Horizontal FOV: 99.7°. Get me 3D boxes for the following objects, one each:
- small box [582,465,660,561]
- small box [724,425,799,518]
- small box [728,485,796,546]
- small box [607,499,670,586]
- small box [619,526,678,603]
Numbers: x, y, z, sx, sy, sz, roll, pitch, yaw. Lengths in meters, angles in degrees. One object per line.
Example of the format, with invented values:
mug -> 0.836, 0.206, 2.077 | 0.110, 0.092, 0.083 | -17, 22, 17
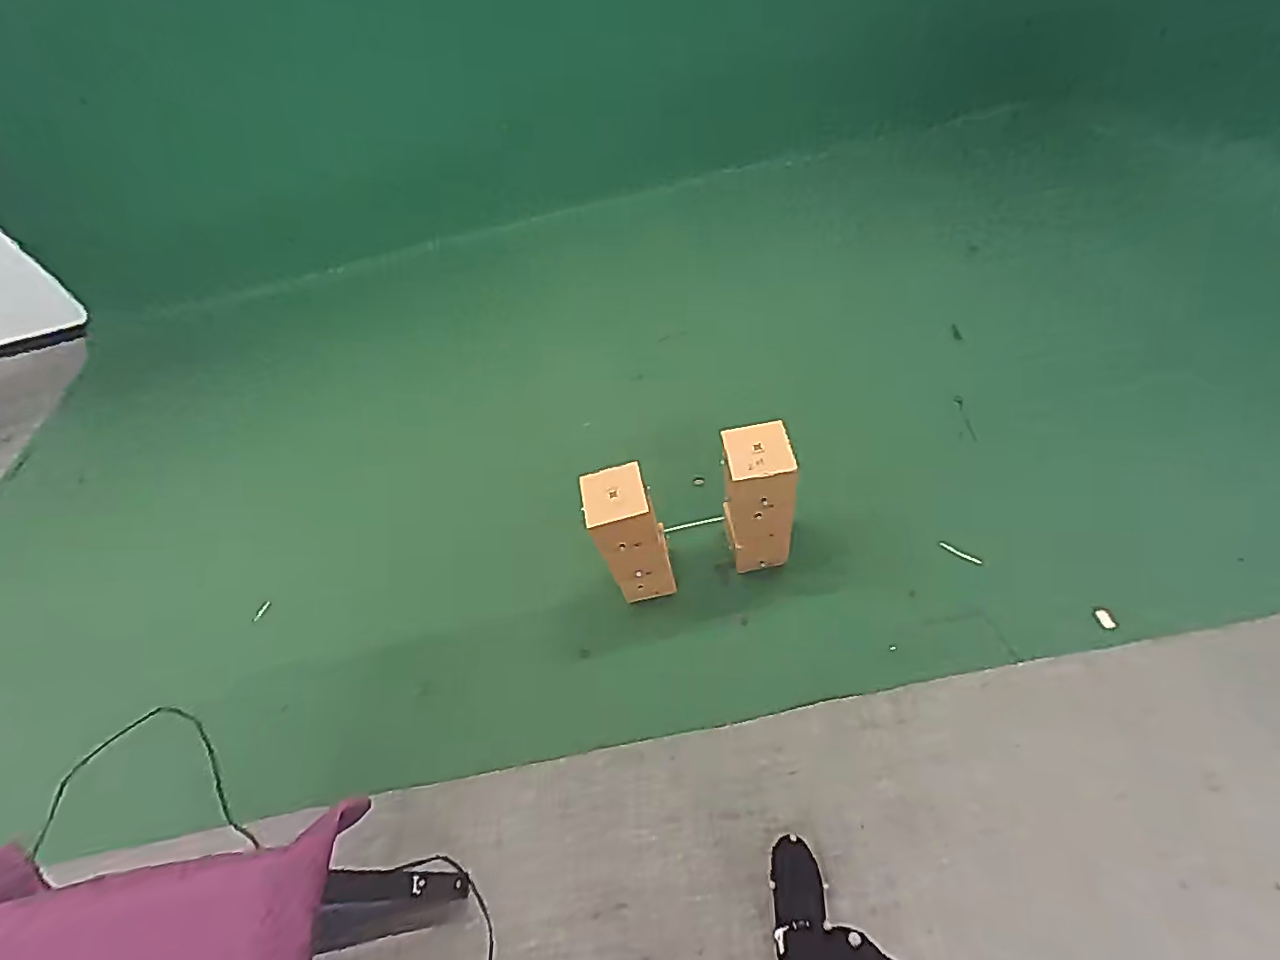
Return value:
small box -> -0.051, 0.092, 1.468 | 0.168, 0.176, 0.179 | -15, 51, 3
small box -> 0.324, -0.021, 1.466 | 0.168, 0.176, 0.179 | -9, 53, 5
small box -> 0.354, 0.073, 1.599 | 0.168, 0.176, 0.179 | -10, 52, 5
small box -> -0.015, 0.186, 1.596 | 0.168, 0.176, 0.179 | -15, 52, 2
small box -> 0.022, 0.277, 1.728 | 0.168, 0.176, 0.179 | -12, 51, 4
